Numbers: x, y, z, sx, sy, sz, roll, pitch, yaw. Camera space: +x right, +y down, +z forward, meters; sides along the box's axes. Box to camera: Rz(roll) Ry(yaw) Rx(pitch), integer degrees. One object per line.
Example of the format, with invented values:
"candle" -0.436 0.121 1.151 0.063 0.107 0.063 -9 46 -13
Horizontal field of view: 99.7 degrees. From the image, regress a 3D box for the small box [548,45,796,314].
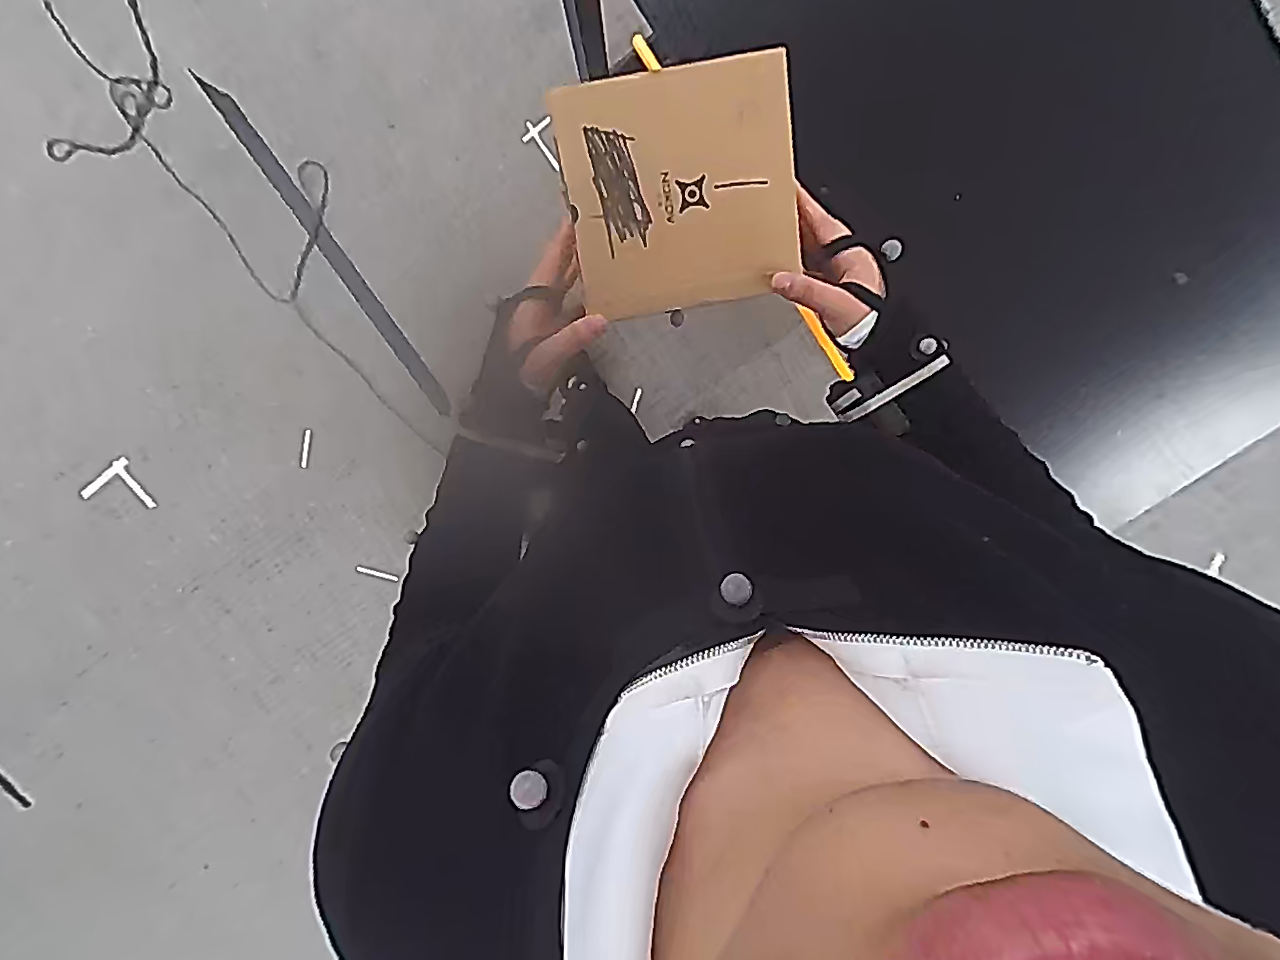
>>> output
"small box" 0.027 -0.247 0.491 0.179 0.176 0.168 -9 107 0
